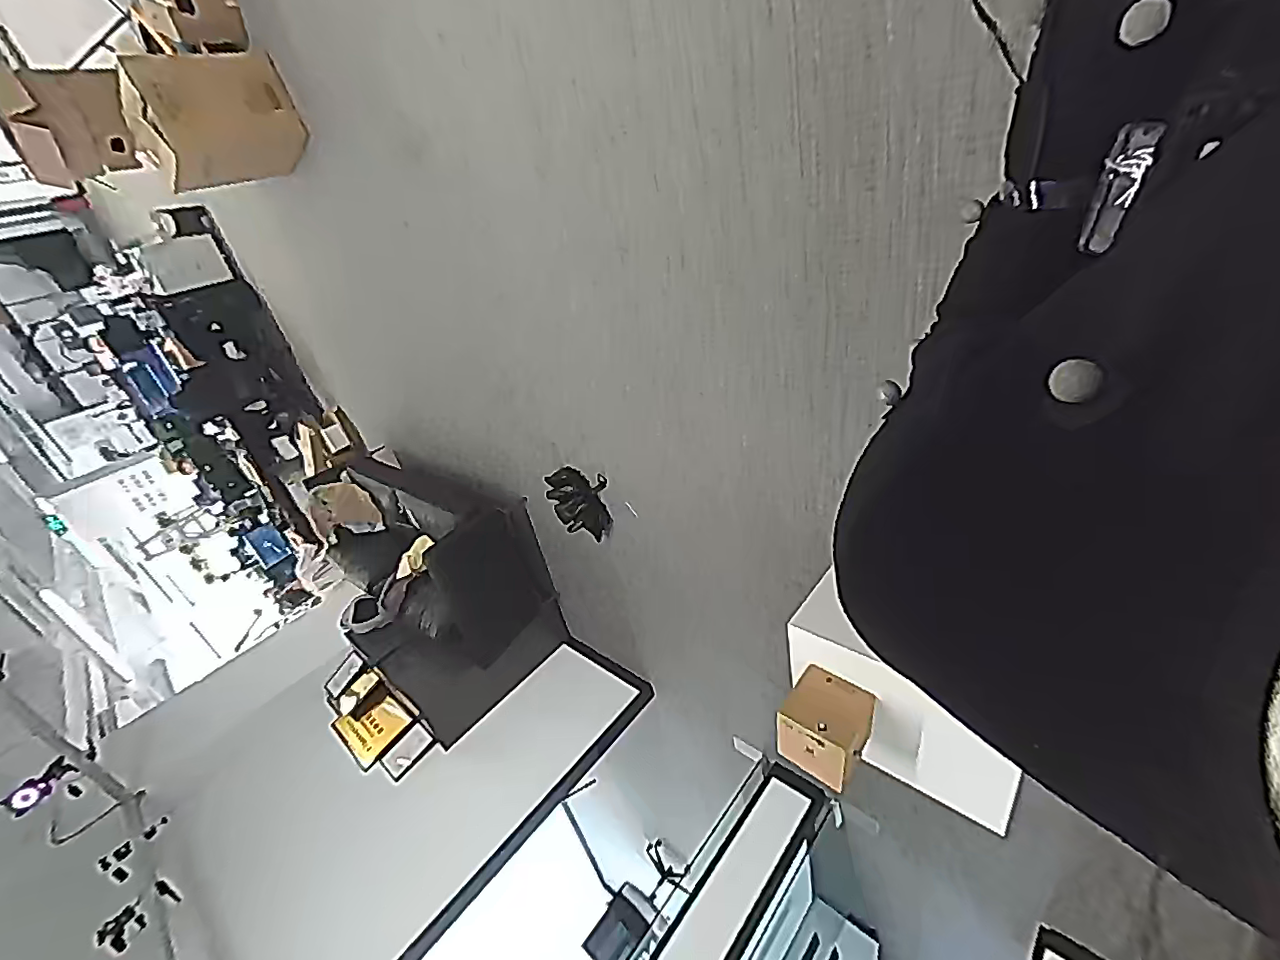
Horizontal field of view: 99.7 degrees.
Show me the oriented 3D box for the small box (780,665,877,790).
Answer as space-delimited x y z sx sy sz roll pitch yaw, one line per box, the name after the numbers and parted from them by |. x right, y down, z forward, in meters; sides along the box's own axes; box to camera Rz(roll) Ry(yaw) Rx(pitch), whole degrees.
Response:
0.452 0.585 1.295 0.168 0.176 0.179 19 133 38 | small box
